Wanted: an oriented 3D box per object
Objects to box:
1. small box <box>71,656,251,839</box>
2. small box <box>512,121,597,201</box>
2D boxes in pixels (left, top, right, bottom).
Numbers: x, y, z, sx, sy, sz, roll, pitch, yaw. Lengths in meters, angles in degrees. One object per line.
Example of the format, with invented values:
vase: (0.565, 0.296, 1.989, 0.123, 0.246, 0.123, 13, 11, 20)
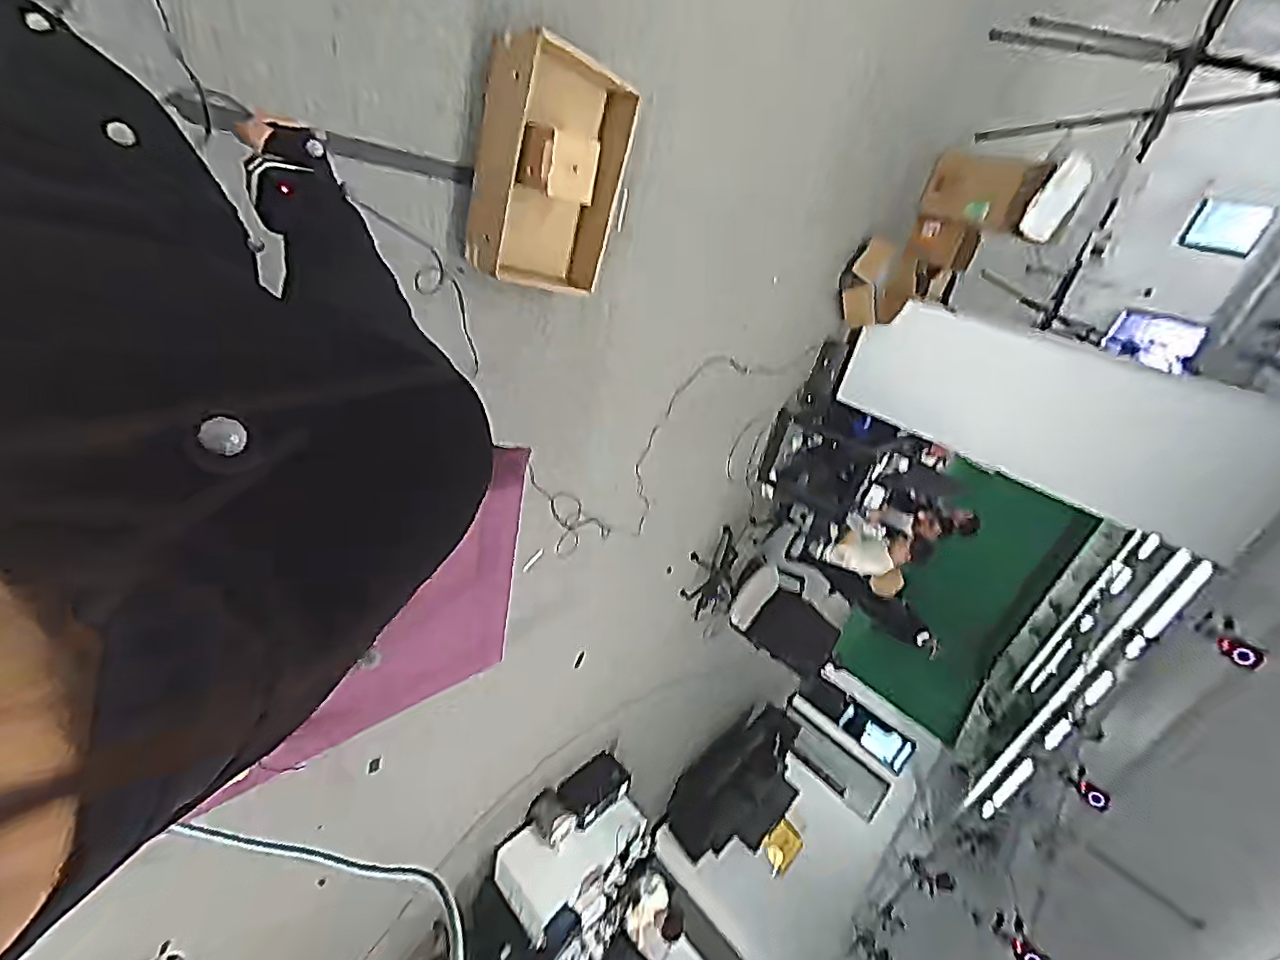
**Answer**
small box: (-0.763, 0.412, 0.866, 0.168, 0.176, 0.179, -22, 135, -41)
small box: (-0.258, -0.946, 1.603, 0.179, 0.176, 0.168, -16, 132, -45)
